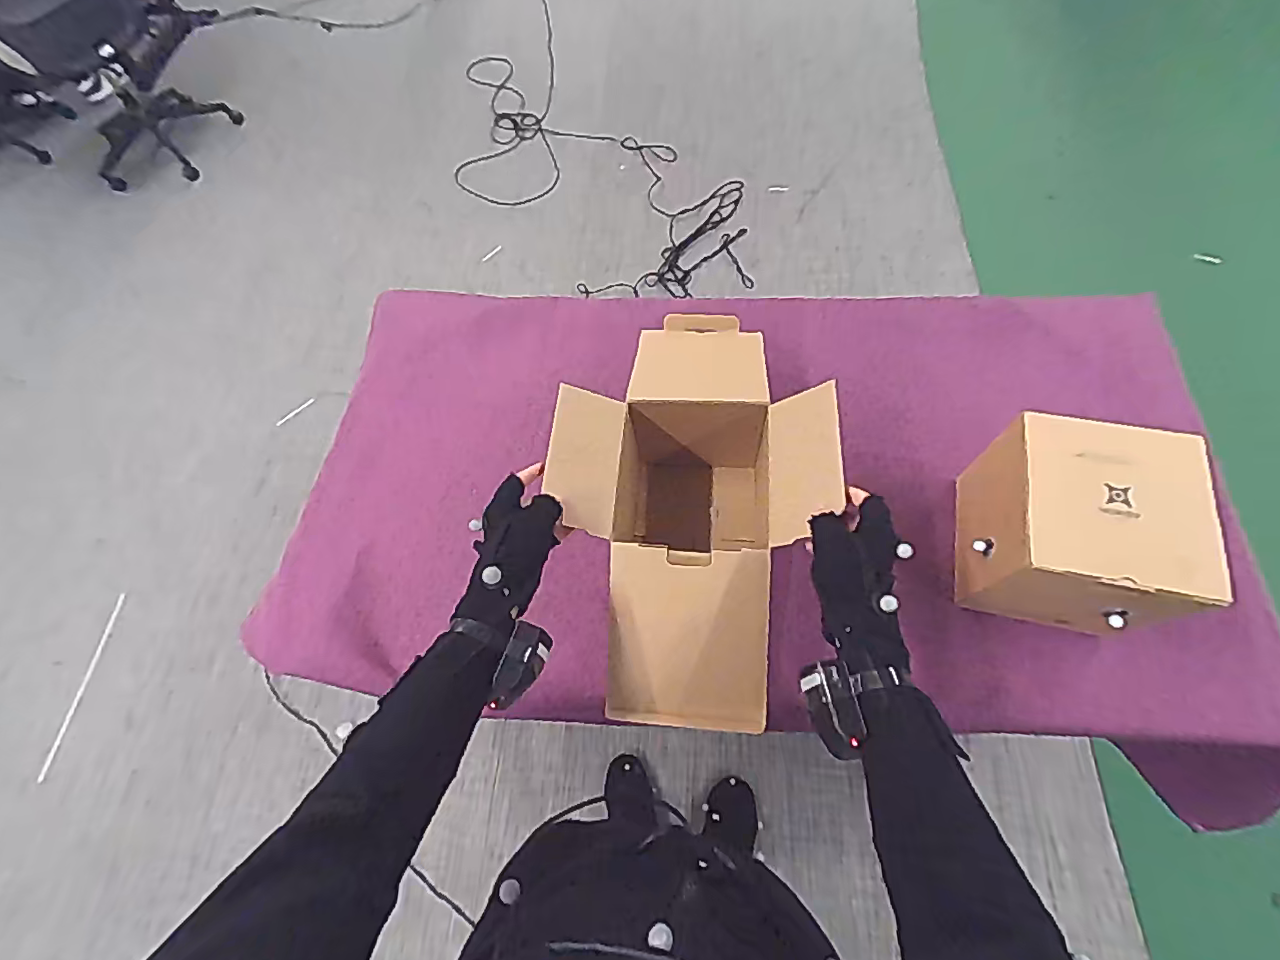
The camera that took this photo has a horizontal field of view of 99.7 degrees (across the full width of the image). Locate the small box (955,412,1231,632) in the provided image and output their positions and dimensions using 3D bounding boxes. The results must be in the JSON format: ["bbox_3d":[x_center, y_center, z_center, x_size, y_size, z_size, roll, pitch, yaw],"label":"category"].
[{"bbox_3d":[0.467,0.054,0.591,0.168,0.176,0.179,11,66,11],"label":"small box"}]
